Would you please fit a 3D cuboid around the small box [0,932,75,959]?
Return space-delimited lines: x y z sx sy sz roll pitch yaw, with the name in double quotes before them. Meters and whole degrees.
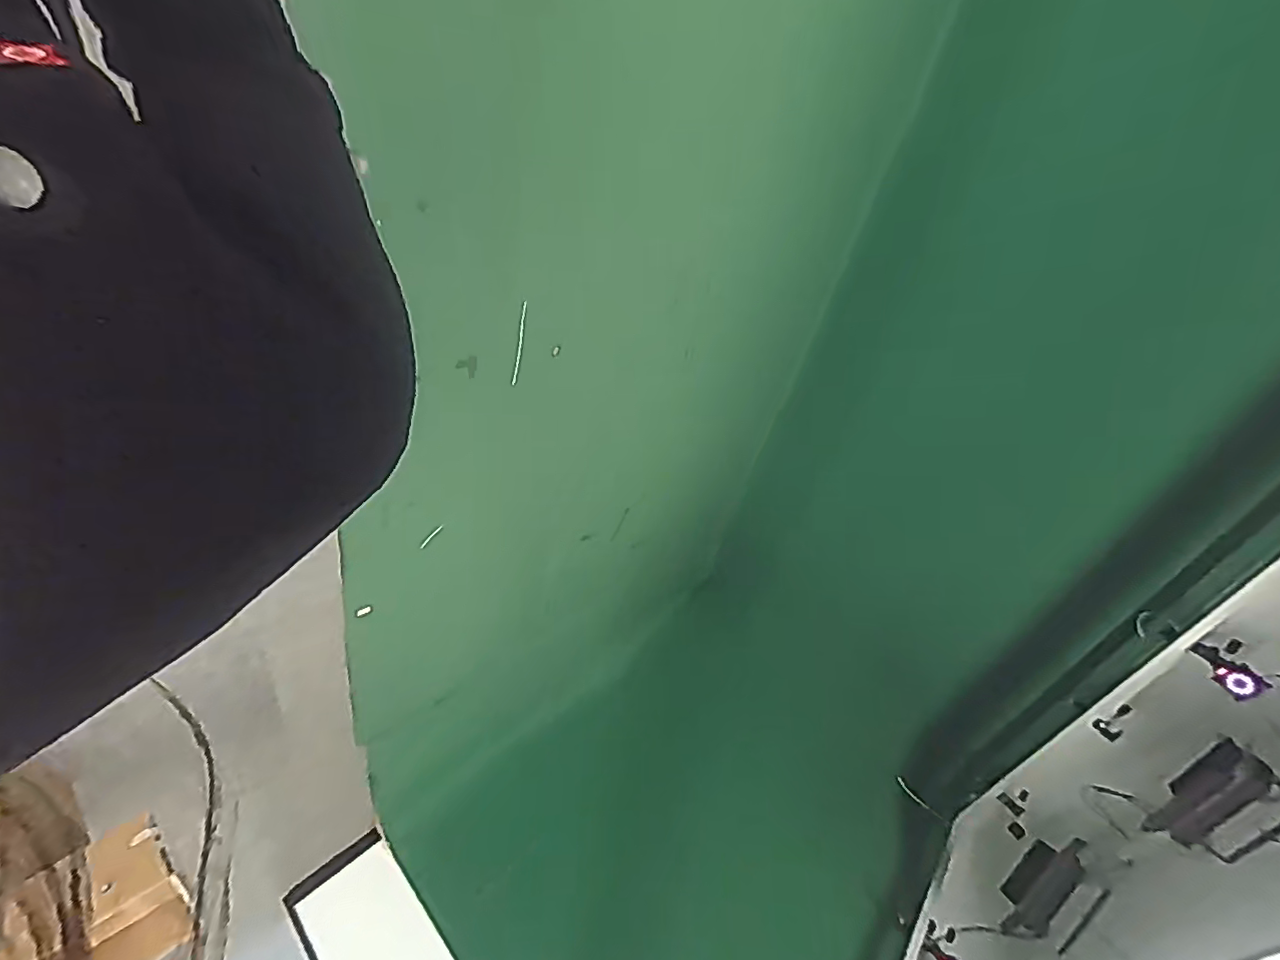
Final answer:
"small box" -1.391 1.164 1.204 0.168 0.176 0.179 -29 144 -41
